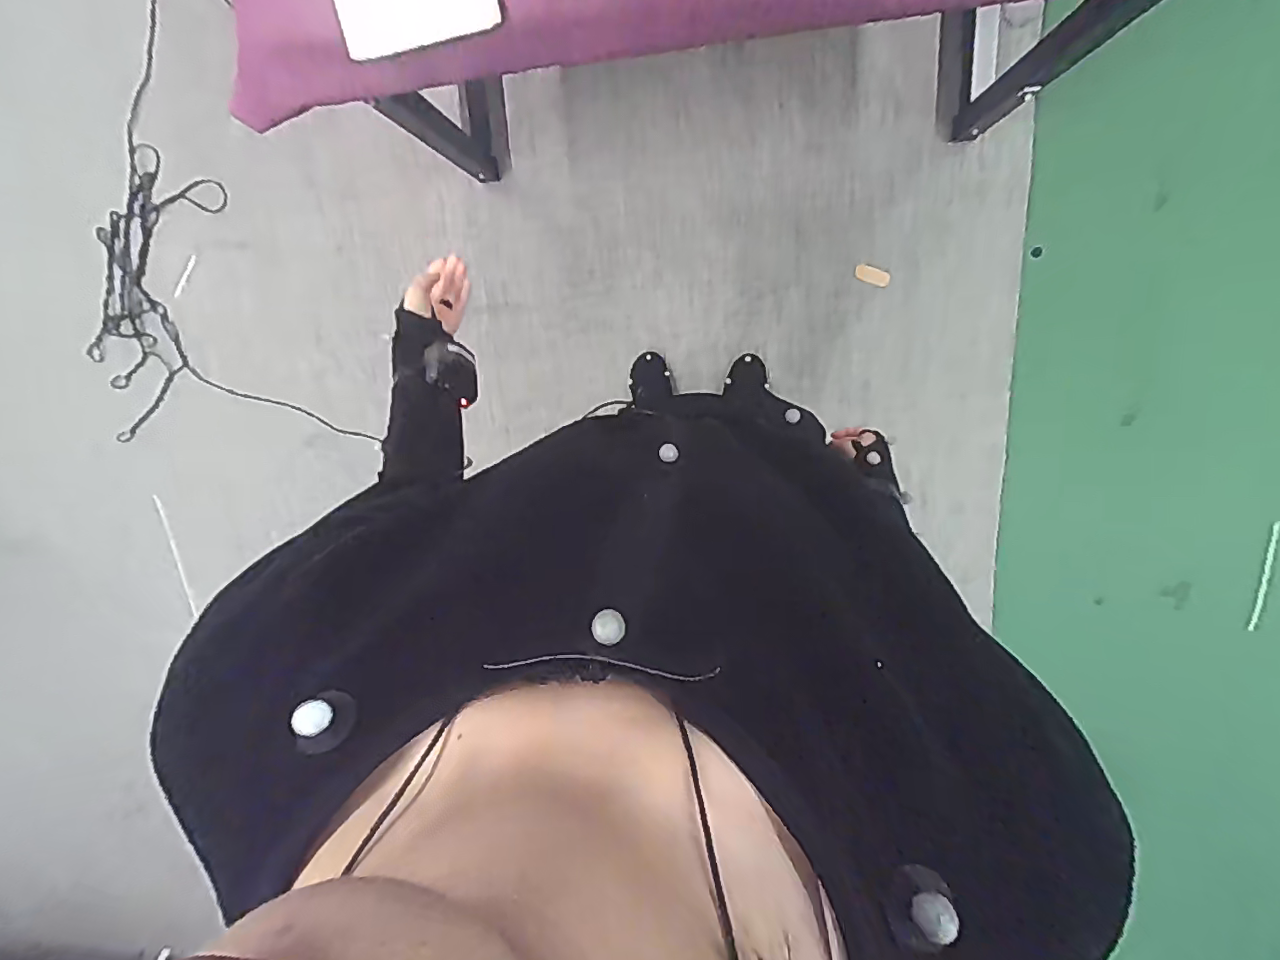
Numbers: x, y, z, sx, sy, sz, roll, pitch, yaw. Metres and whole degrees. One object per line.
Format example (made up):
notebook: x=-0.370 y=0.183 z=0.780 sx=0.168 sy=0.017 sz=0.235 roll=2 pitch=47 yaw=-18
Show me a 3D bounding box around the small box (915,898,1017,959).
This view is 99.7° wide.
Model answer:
small box: x=0.801 y=1.162 z=1.317 sx=0.179 sy=0.176 sz=0.168 roll=-13 pitch=100 yaw=10
